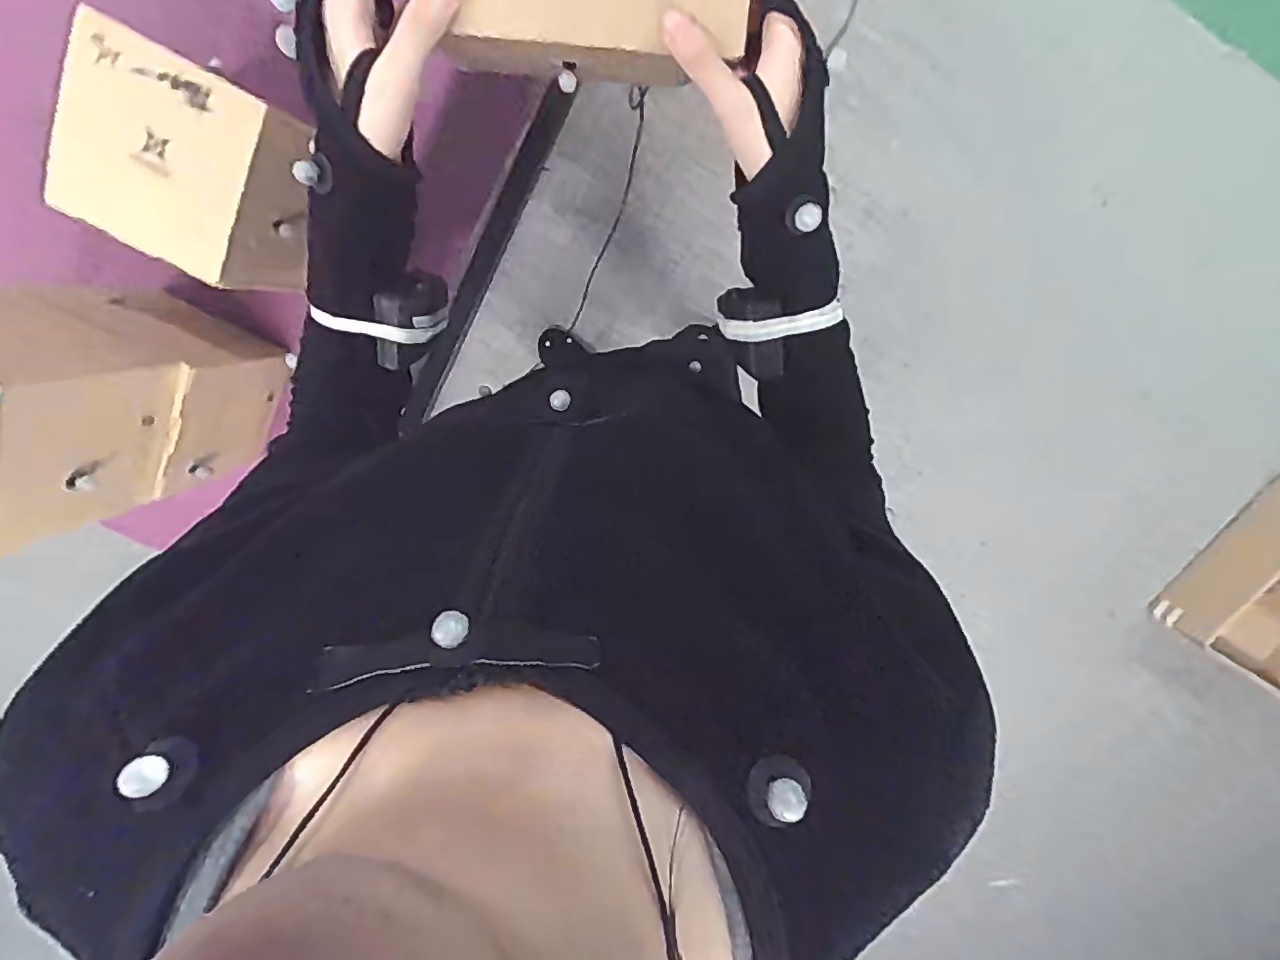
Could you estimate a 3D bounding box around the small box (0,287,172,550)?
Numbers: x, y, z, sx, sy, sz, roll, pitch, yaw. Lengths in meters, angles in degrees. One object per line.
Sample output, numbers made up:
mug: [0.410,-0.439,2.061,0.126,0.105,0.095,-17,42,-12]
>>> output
small box: [-0.578,-0.066,0.482,0.179,0.176,0.168,25,106,-6]

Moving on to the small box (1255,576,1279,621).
small box: [1.921,0.359,1.509,0.179,0.176,0.168,30,105,-8]

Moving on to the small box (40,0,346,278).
small box: [-0.445,-0.329,0.566,0.168,0.176,0.179,28,106,-8]
